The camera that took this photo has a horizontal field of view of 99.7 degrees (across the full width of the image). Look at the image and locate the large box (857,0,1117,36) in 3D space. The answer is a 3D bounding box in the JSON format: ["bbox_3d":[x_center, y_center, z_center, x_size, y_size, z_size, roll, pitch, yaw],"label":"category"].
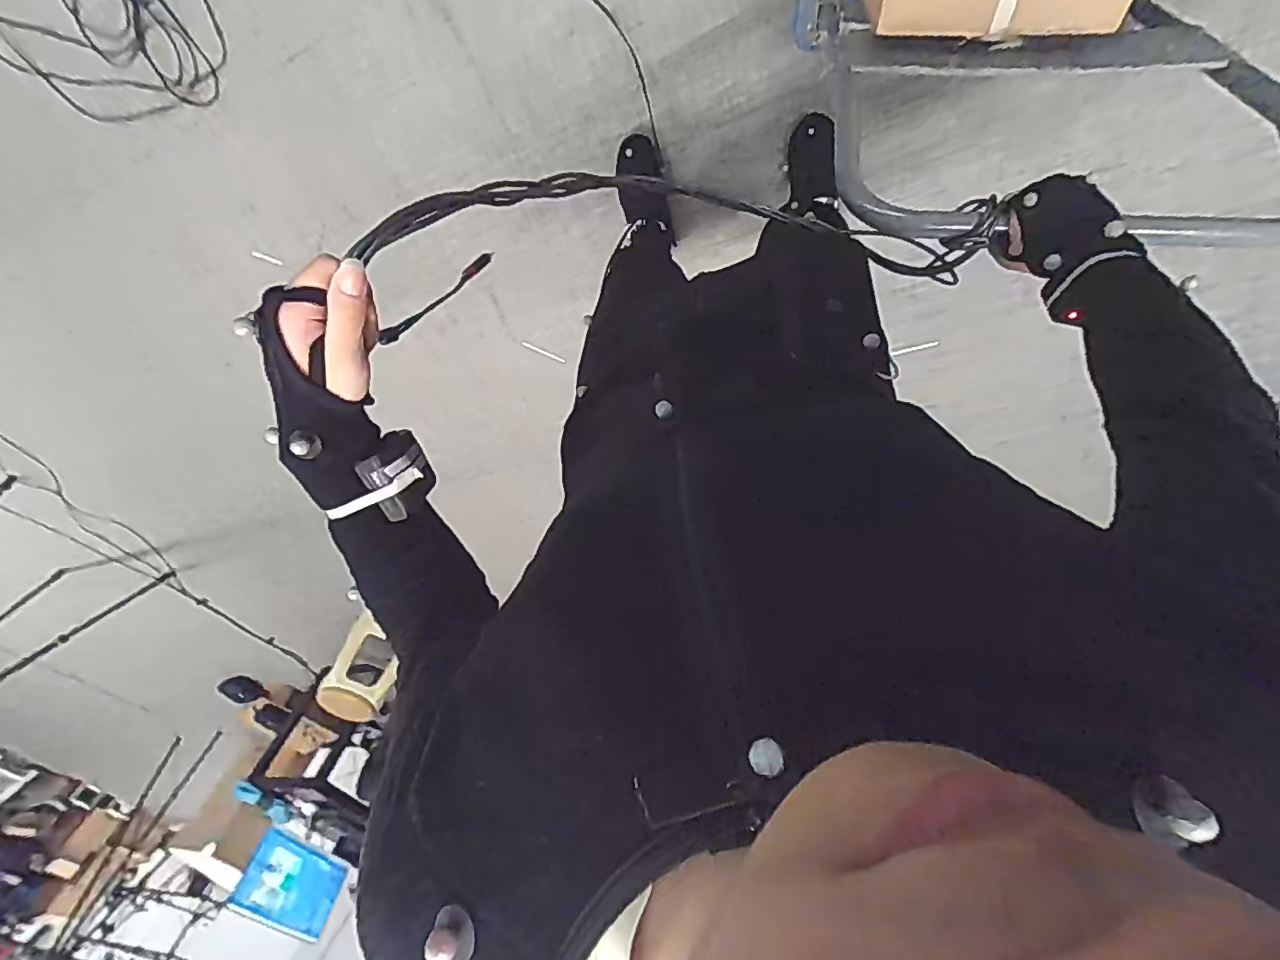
[{"bbox_3d":[0.494,-0.861,0.700,0.320,0.320,0.408,6,140,6],"label":"large box"}]
